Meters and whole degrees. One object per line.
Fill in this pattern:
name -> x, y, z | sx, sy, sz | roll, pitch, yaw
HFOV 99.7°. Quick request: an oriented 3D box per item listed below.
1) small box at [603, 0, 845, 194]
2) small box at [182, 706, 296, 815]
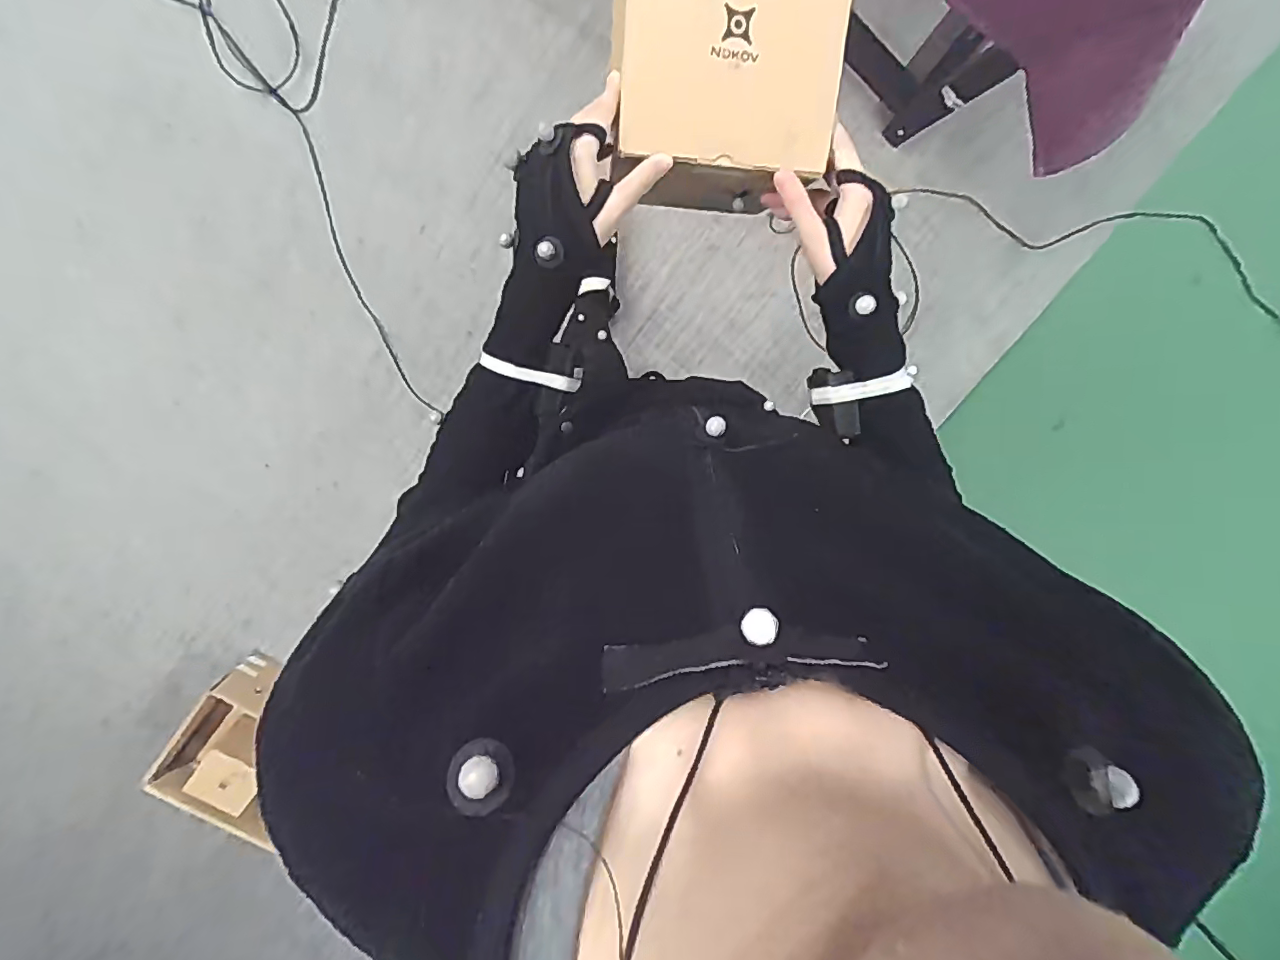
small box -> 0.058, -0.360, 0.460 | 0.168, 0.176, 0.179 | 2, 106, -8
small box -> -1.127, 0.791, 1.537 | 0.168, 0.176, 0.179 | 38, 100, -14
